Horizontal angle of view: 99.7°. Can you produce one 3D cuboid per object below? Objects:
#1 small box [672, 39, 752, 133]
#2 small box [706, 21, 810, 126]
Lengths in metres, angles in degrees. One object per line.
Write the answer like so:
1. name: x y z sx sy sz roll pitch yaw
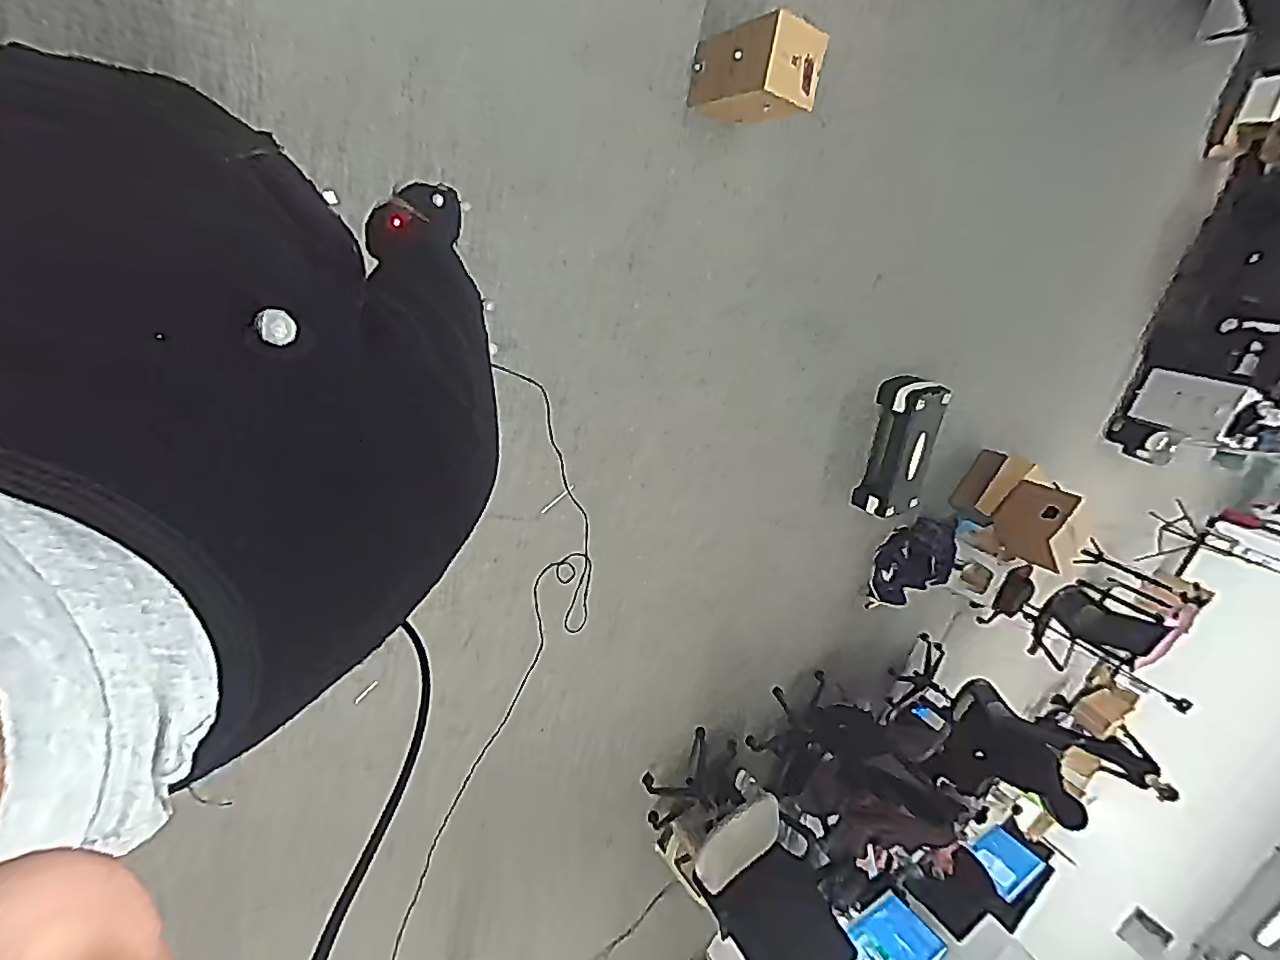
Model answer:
1. small box: 0.218 -1.104 1.533 0.179 0.176 0.168 -3 114 -33
2. small box: 0.302 -1.042 1.405 0.179 0.176 0.168 -4 114 -34
